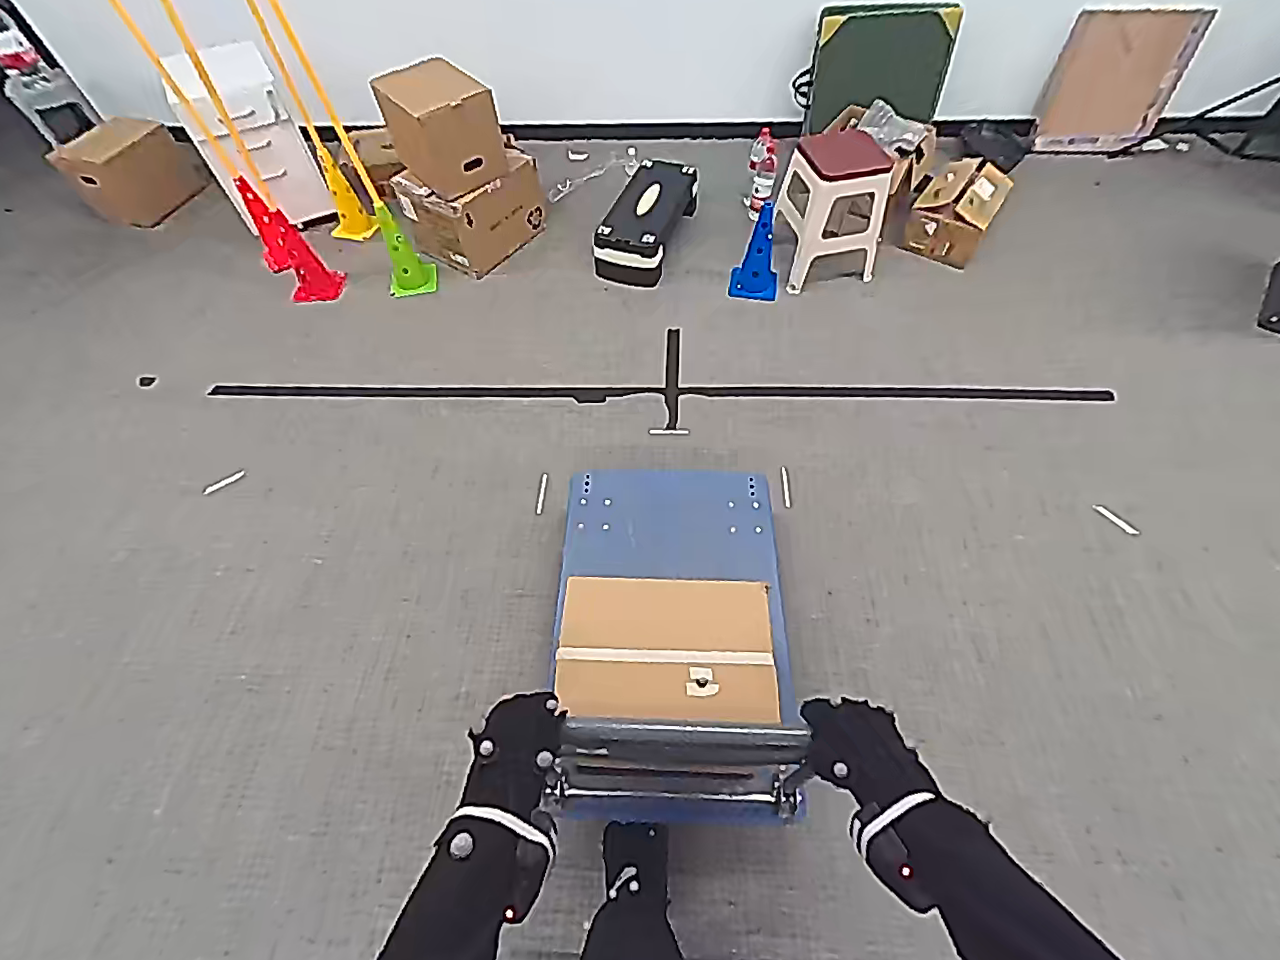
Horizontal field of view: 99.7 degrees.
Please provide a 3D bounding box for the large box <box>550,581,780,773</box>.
[{"bbox_3d":[0.043,0.419,1.128,0.408,0.320,0.320,2,56,1],"label":"large box"}]
